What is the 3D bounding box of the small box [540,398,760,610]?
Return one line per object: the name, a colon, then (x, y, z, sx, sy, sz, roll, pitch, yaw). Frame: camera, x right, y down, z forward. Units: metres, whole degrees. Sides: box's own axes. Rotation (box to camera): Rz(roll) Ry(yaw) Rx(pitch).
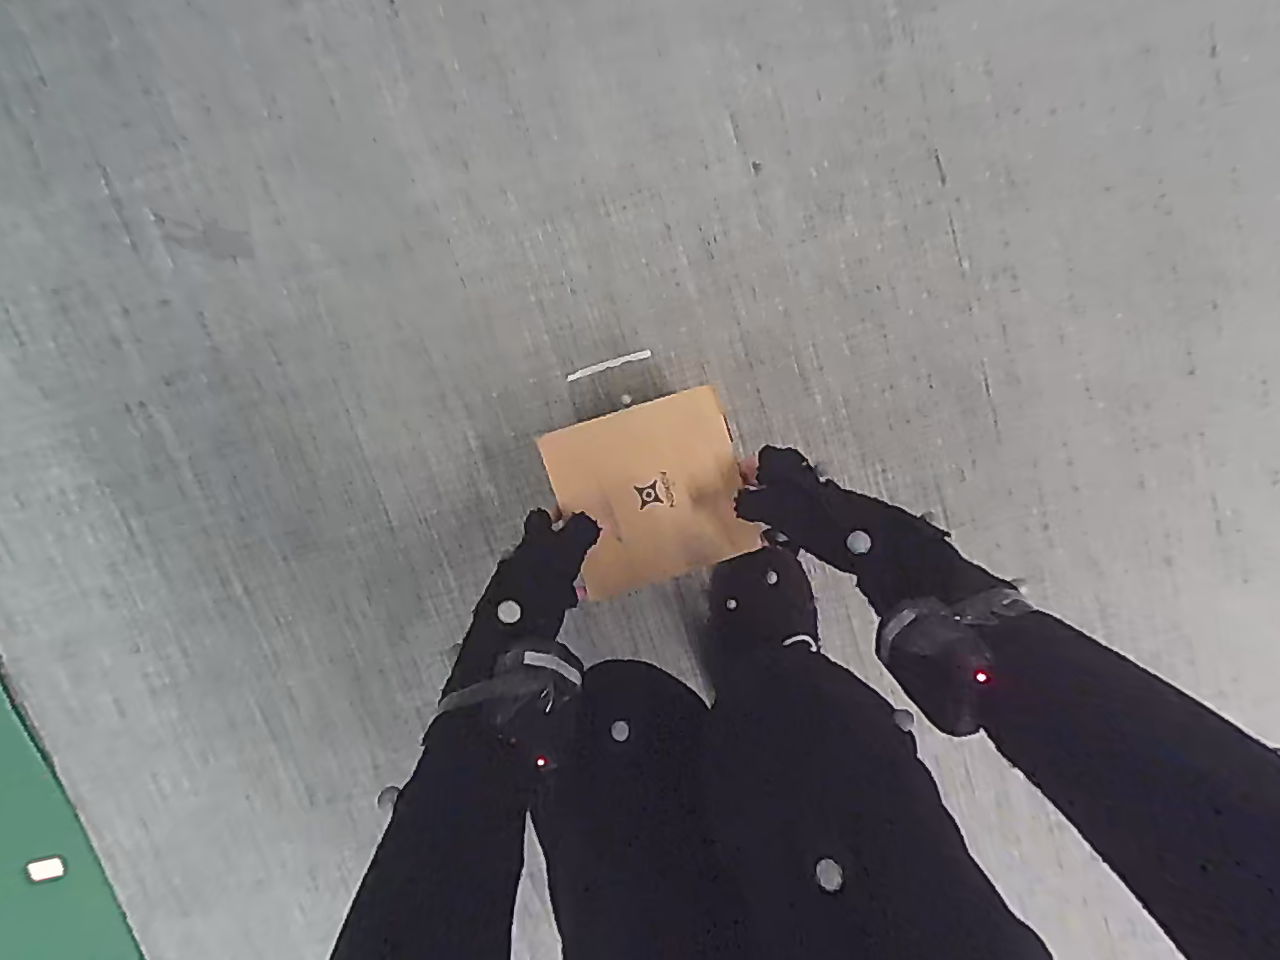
small box: (0.008, 0.015, 0.589, 0.179, 0.176, 0.168, -18, 96, 0)
